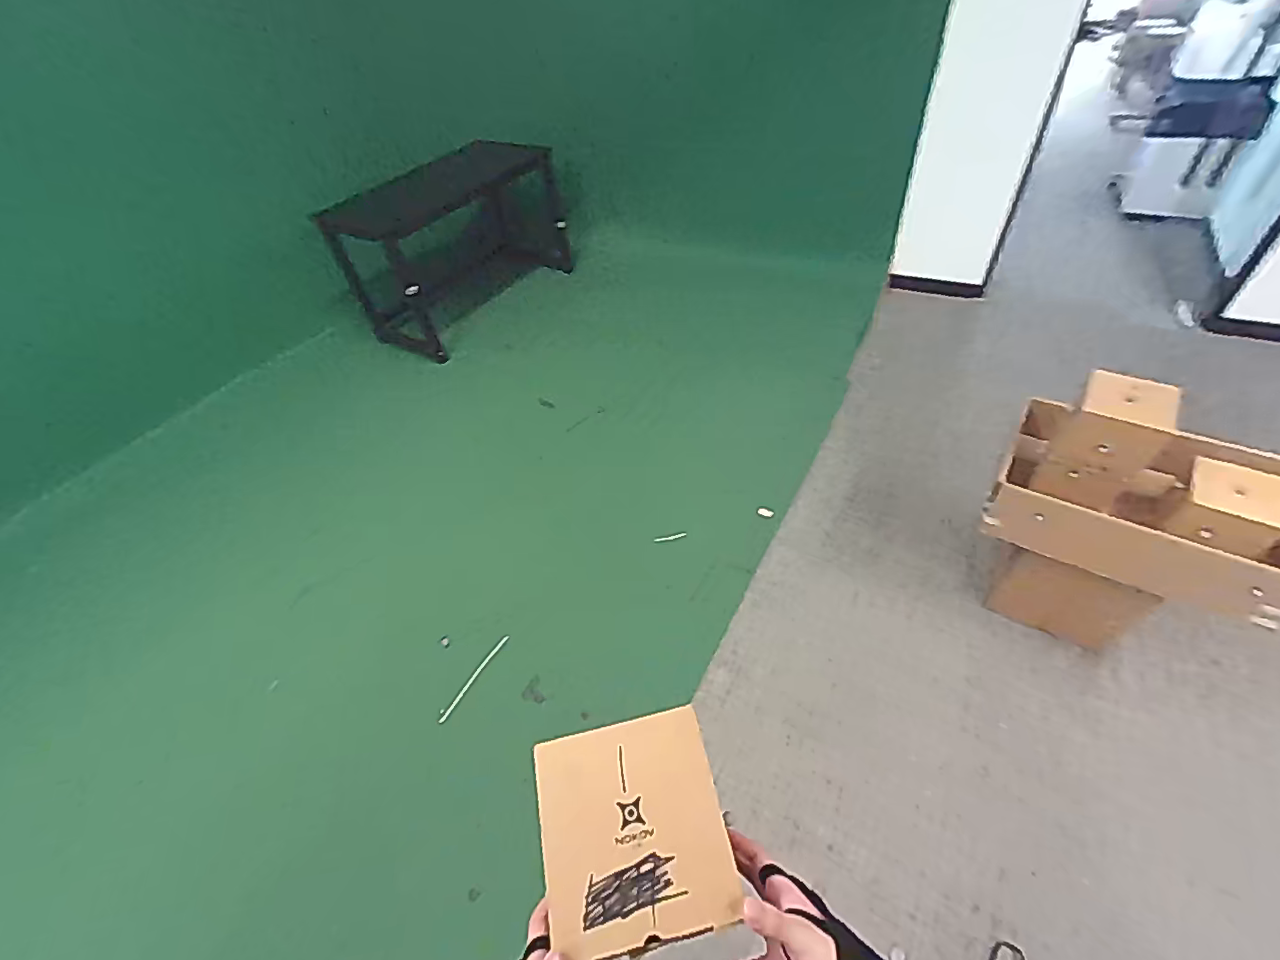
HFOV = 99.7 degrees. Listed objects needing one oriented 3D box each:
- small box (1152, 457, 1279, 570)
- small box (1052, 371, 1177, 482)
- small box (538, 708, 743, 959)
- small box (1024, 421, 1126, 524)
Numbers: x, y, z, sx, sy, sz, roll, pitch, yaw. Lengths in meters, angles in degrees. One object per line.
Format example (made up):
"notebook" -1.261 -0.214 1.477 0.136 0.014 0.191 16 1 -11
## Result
"small box" 1.364 0.082 1.282 0.168 0.176 0.179 23 54 28
"small box" 1.118 -0.125 1.285 0.168 0.176 0.179 25 55 27
"small box" 0.000 0.359 0.553 0.168 0.176 0.179 -12 52 -3
"small box" 1.138 -0.019 1.410 0.168 0.176 0.179 25 55 29
